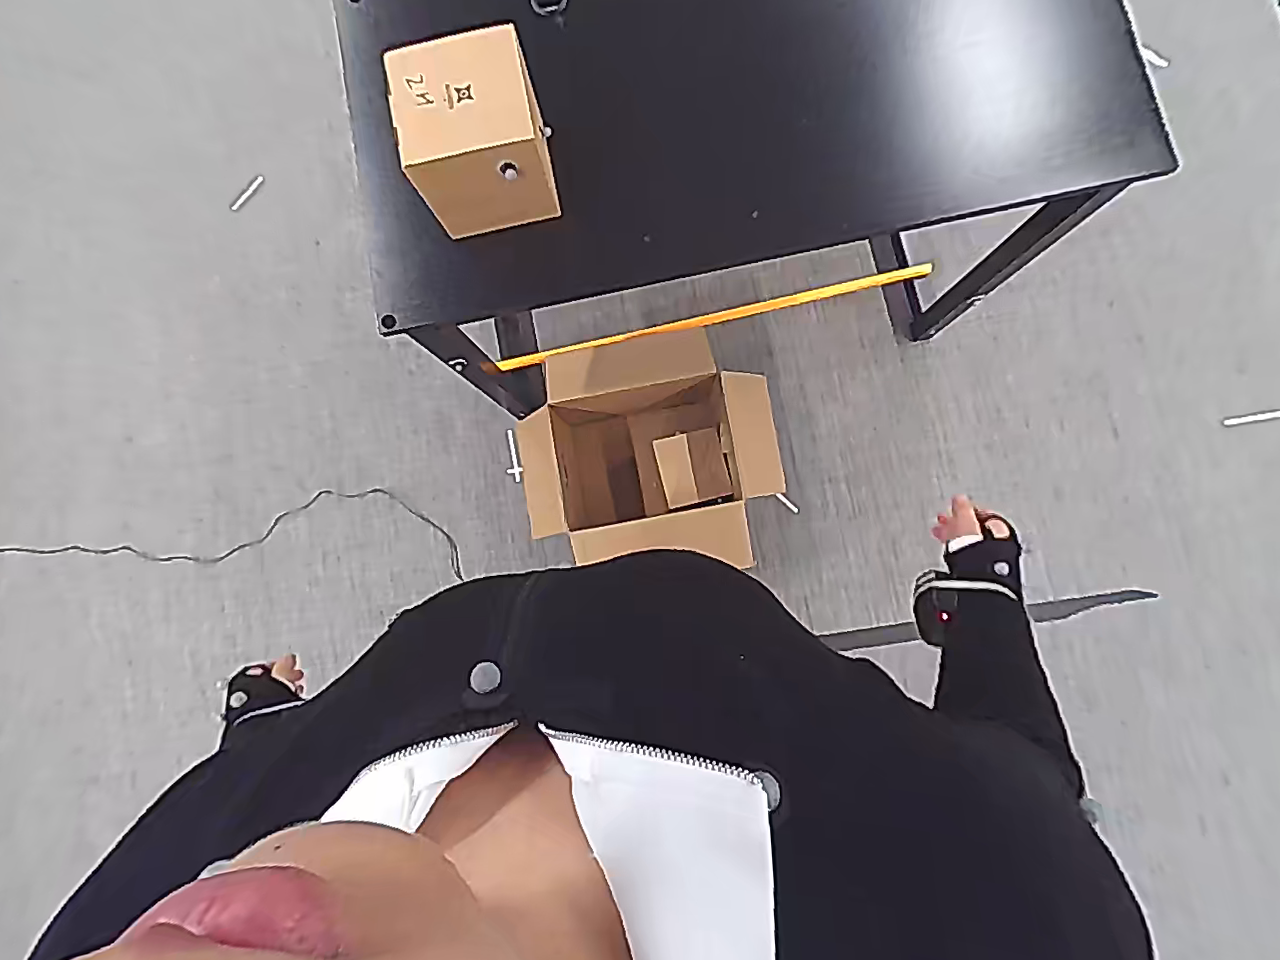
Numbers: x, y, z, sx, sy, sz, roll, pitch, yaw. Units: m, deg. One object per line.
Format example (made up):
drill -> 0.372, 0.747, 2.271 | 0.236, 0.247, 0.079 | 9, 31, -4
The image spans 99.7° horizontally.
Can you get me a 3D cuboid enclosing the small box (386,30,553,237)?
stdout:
small box -> -0.228, -0.478, 0.770 | 0.179, 0.176, 0.168 | -12, 83, 1
